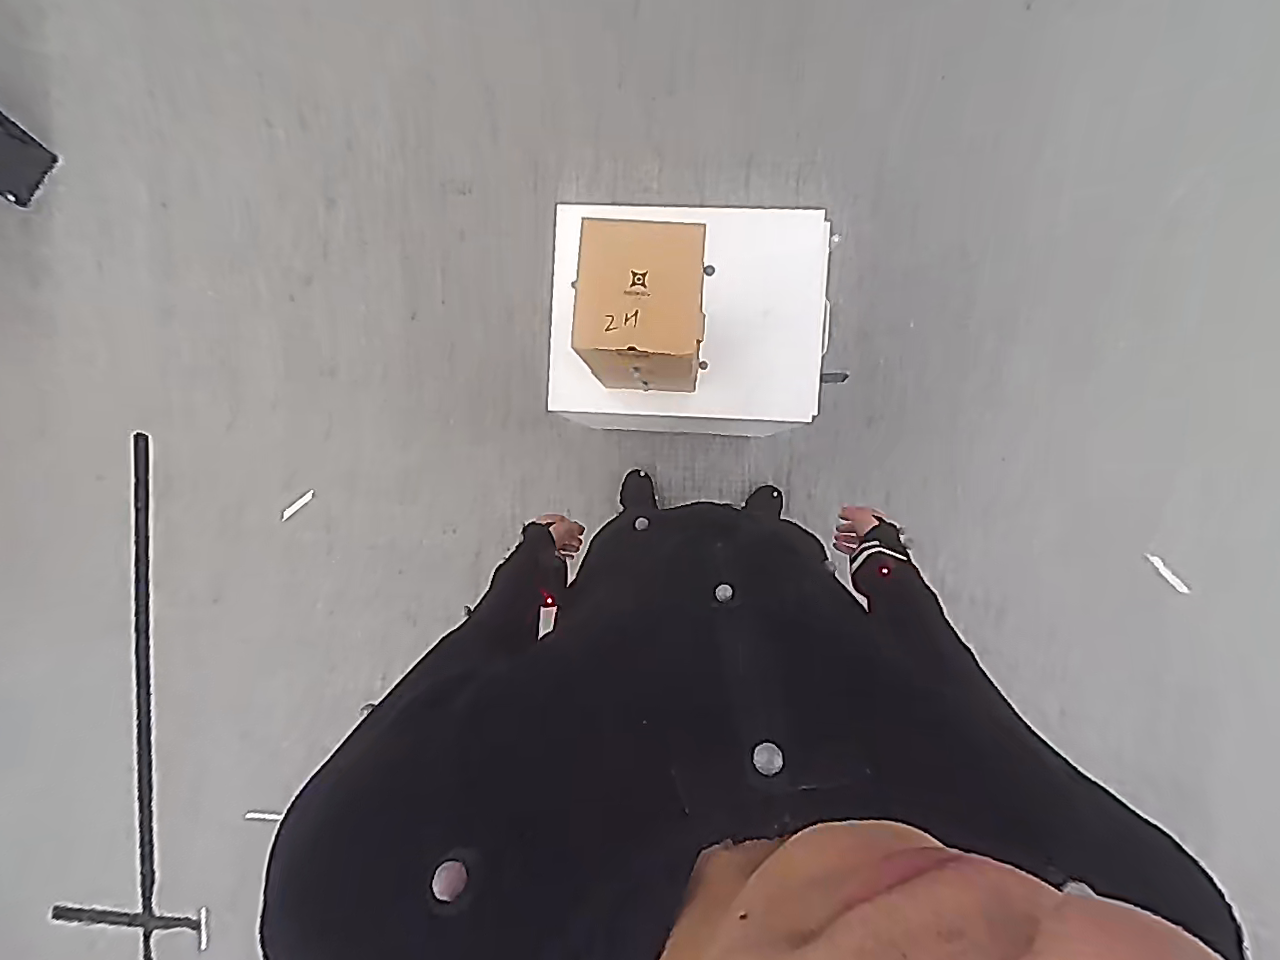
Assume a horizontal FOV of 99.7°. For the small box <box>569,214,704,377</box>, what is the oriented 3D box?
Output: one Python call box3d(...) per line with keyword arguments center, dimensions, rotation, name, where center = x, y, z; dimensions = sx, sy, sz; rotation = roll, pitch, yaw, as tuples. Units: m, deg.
box3d(center=(-0.001, -0.256, 0.785), dimensions=(0.168, 0.176, 0.179), rotation=(5, 92, 4), name="small box")
